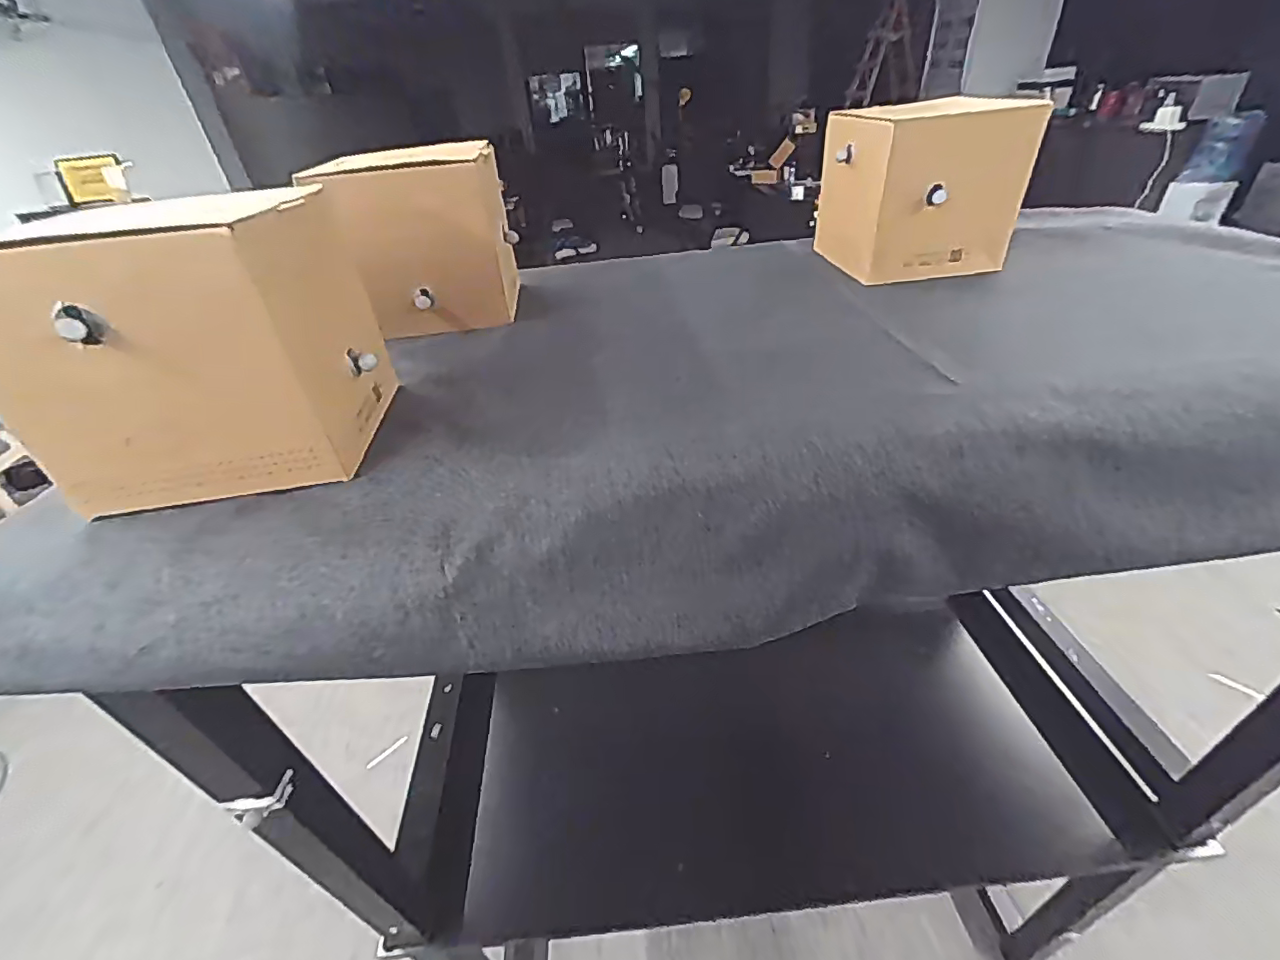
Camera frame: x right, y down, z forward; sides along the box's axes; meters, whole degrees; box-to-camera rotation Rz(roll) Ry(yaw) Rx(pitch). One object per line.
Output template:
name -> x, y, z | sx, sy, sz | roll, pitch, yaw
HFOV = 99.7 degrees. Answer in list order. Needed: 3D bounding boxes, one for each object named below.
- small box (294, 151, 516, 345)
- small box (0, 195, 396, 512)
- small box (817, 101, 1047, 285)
small box -> -0.245, -0.268, 0.623 | 0.179, 0.176, 0.168 | -7, 36, -4
small box -> -0.304, -0.093, 0.386 | 0.179, 0.176, 0.168 | -8, 35, -5
small box -> 0.327, -0.341, 0.650 | 0.168, 0.176, 0.179 | -7, 36, -2
